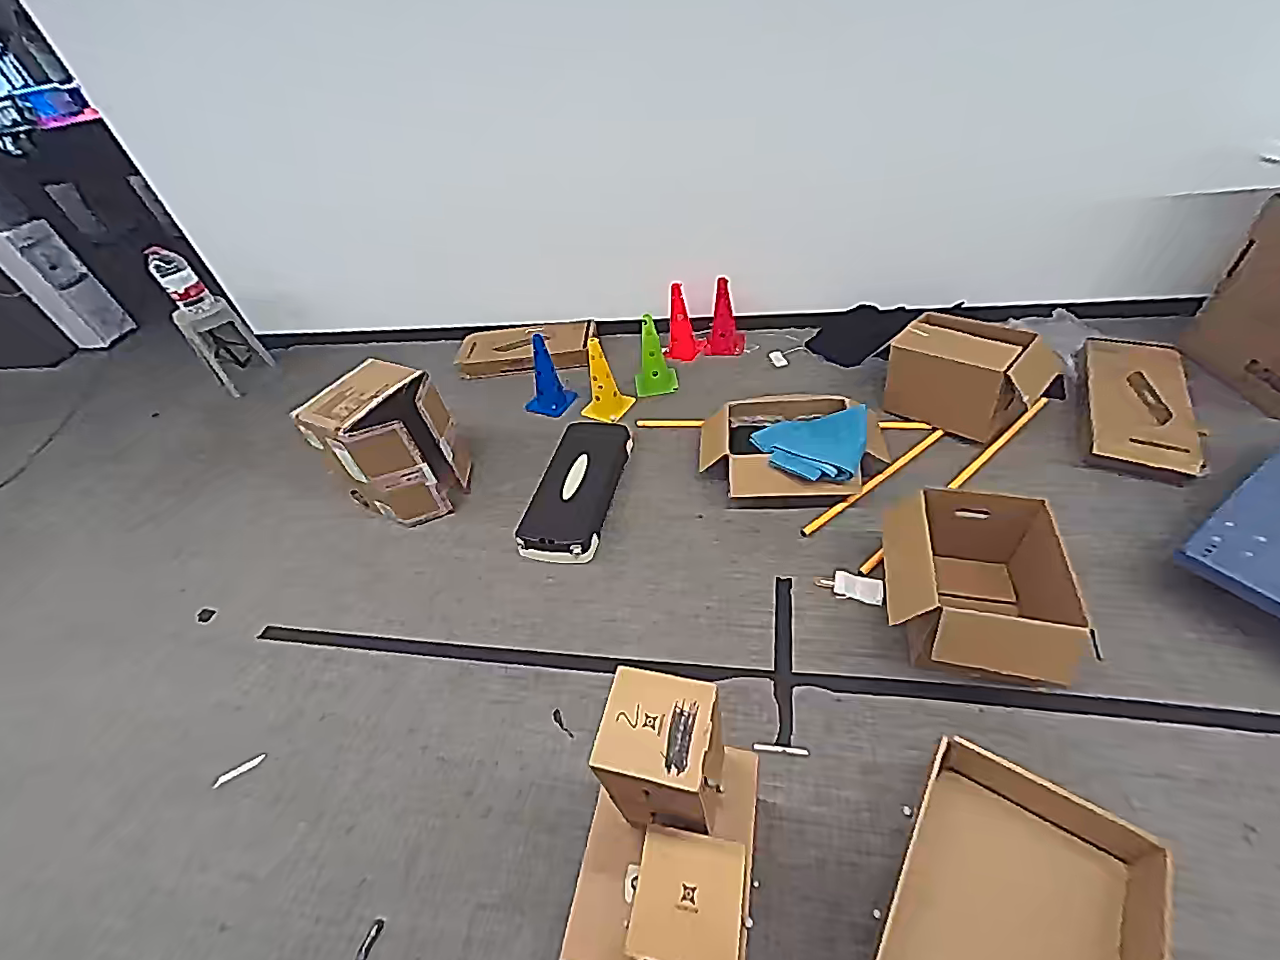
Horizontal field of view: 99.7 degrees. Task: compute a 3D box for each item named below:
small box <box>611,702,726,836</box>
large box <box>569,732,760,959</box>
[{"bbox_3d":[0.063,0.548,1.023,0.179,0.176,0.168,5,48,16],"label":"small box"},{"bbox_3d":[0.082,0.798,1.120,0.320,0.320,0.408,2,47,15],"label":"large box"}]
